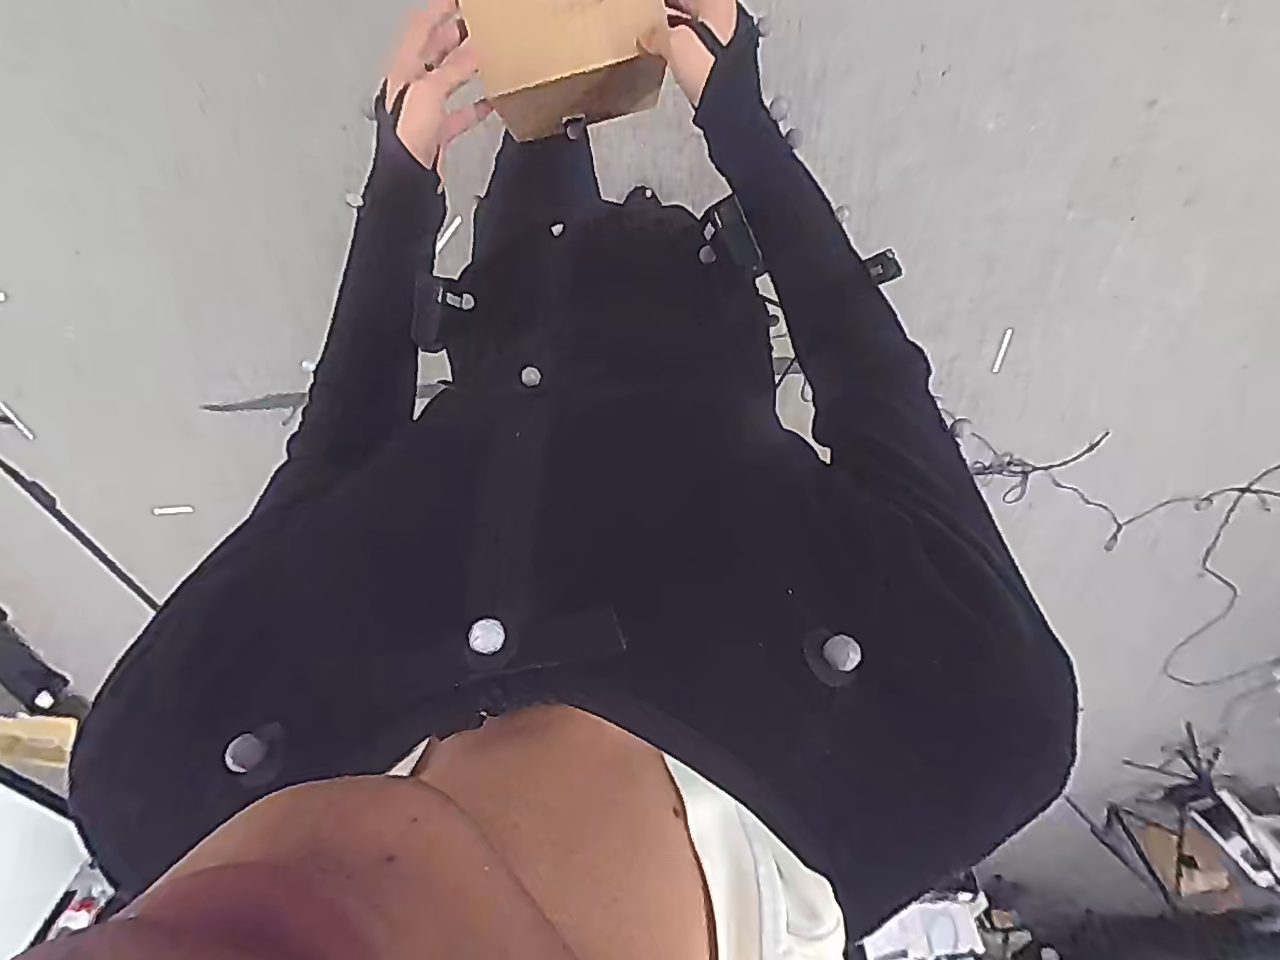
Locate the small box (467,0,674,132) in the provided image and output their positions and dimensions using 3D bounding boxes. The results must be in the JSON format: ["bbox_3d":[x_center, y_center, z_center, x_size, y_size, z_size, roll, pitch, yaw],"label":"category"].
[{"bbox_3d":[-0.072,-0.461,0.503,0.168,0.176,0.179,-13,110,2],"label":"small box"}]
